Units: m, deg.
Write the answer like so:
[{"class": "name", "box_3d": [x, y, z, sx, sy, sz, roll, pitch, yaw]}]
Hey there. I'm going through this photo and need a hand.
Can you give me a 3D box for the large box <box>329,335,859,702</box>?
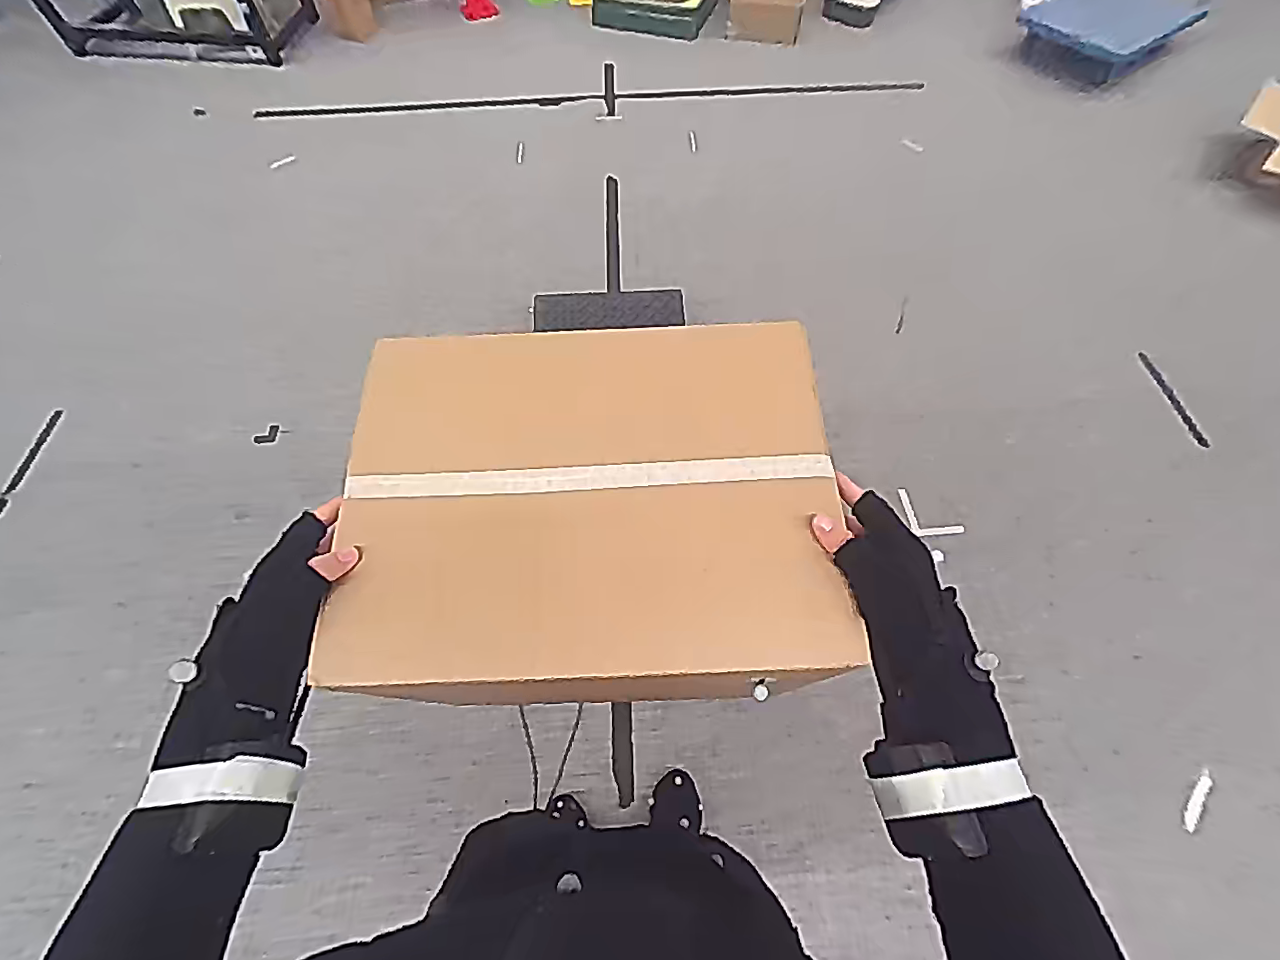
[{"class": "large box", "box_3d": [-0.036, 0.068, 0.596, 0.408, 0.320, 0.320, -2, 65, 0]}]
